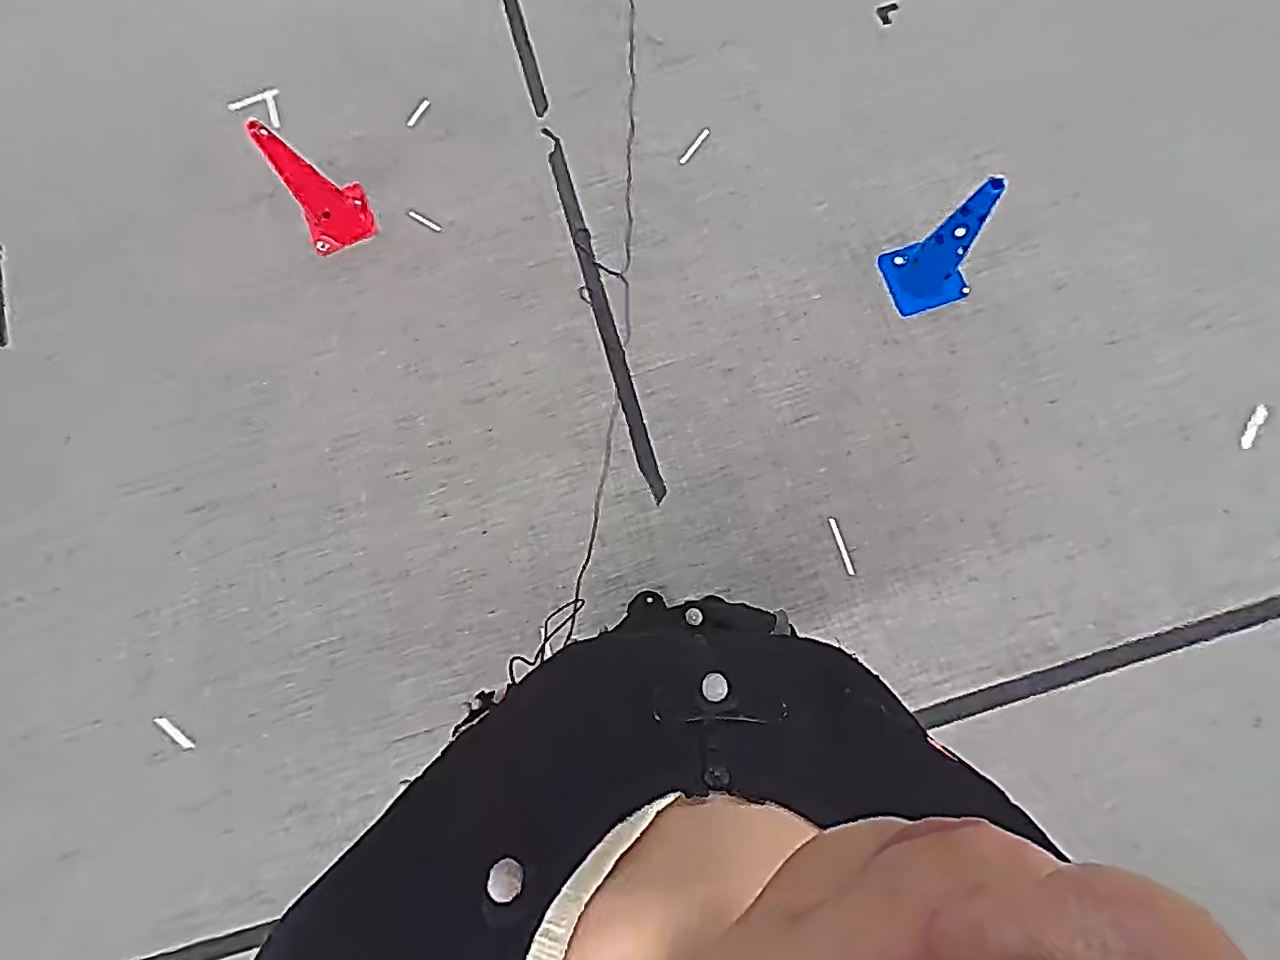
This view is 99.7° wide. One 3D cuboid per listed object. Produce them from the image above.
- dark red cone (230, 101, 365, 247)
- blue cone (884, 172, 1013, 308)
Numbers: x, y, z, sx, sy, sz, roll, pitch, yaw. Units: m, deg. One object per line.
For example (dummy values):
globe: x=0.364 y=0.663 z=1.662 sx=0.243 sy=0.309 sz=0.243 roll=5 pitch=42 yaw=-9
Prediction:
dark red cone: x=-0.957 y=-0.851 z=1.486 sx=0.201 sy=0.394 sz=0.202 roll=-24 pitch=78 yaw=-2
blue cone: x=0.781 y=-0.607 z=1.338 sx=0.192 sy=0.380 sz=0.193 roll=-16 pitch=78 yaw=0
